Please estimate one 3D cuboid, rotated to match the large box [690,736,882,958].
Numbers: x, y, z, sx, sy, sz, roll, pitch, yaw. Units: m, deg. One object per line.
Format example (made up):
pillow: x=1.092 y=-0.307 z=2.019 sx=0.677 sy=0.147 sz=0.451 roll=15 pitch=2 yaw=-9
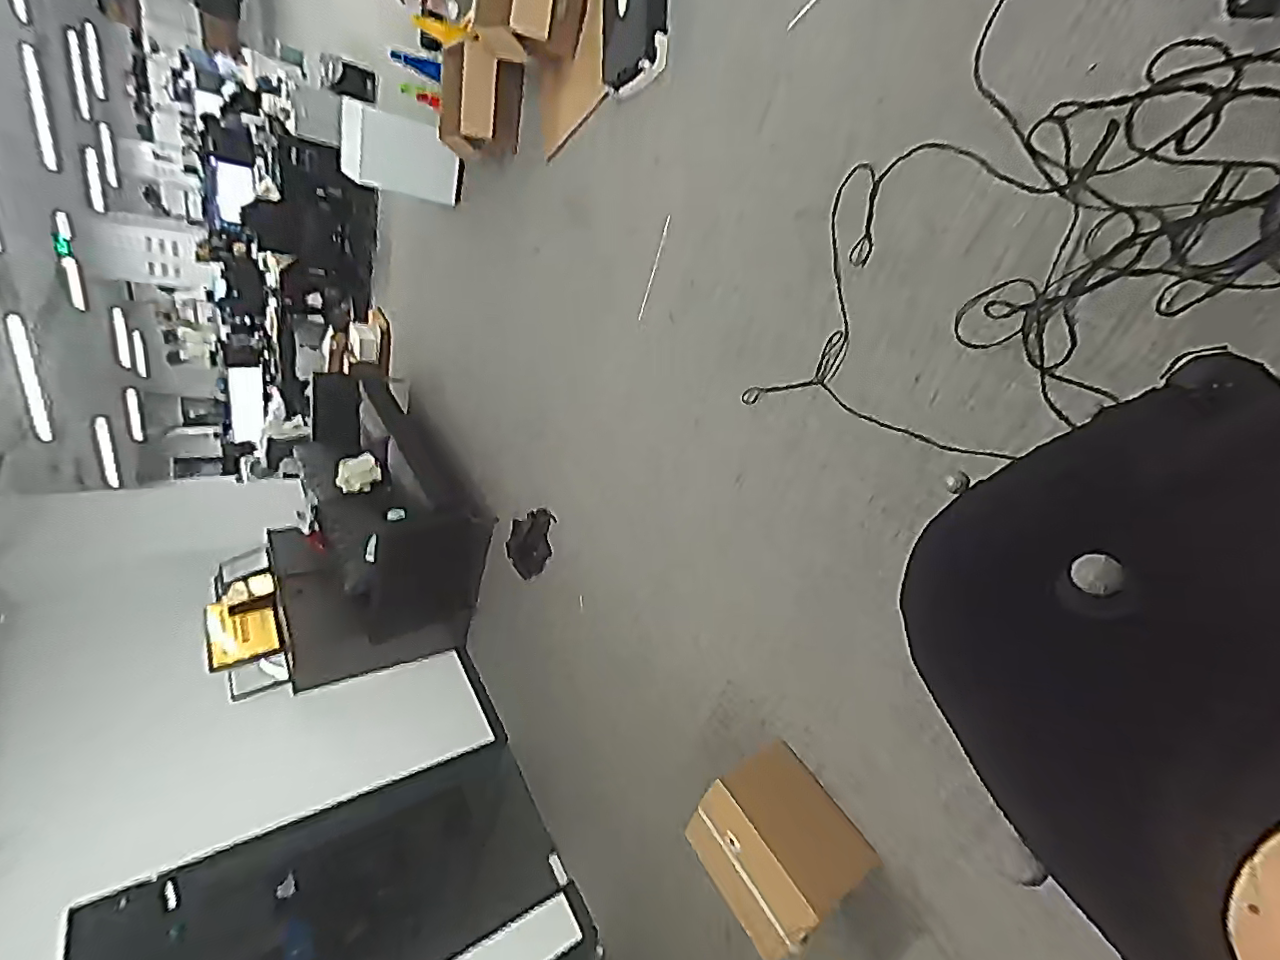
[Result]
large box: x=0.428 y=1.084 z=1.638 sx=0.408 sy=0.320 sz=0.320 roll=46 pitch=128 yaw=40
